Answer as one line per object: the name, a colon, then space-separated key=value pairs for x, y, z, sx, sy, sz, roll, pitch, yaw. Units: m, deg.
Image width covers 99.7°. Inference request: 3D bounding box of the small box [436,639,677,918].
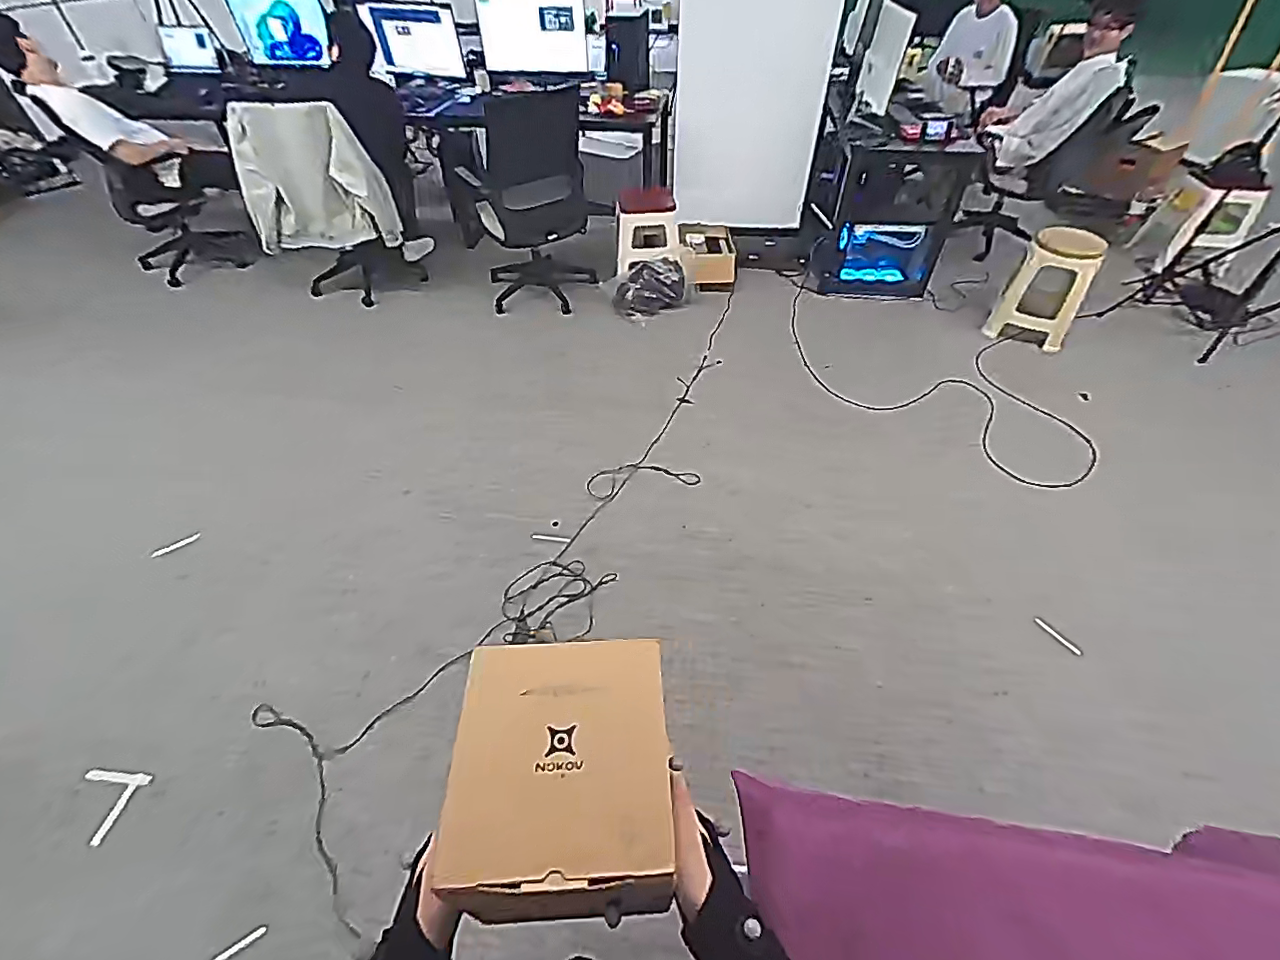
small box: x=-0.059 y=0.262 z=0.473 sx=0.168 sy=0.176 sz=0.179 roll=-2 pitch=44 yaw=-3
